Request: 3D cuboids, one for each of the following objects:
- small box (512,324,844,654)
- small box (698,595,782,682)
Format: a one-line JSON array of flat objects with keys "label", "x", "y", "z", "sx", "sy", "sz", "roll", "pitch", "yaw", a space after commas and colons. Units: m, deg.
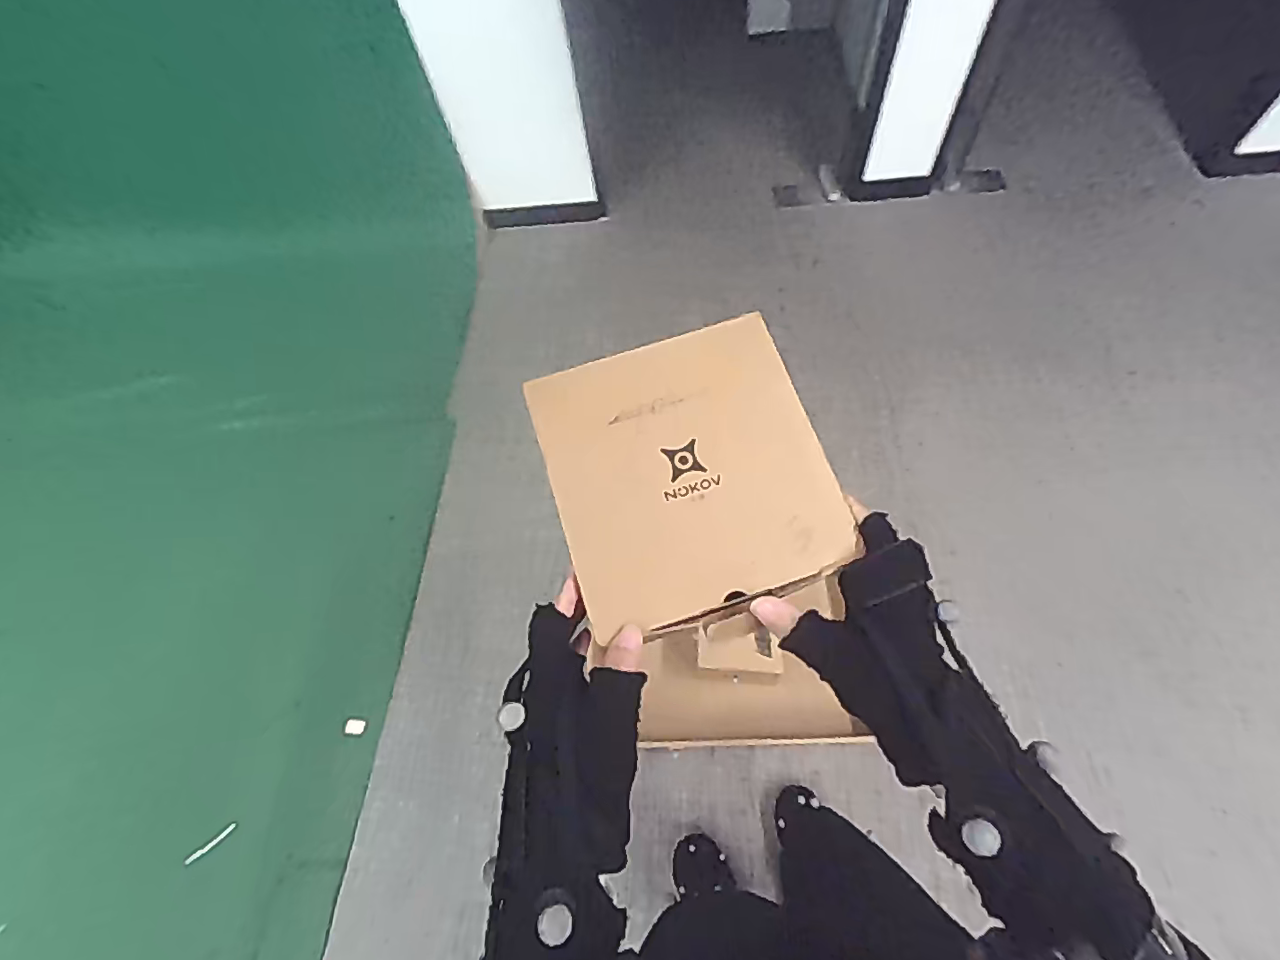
[{"label": "small box", "x": 0.021, "y": 0.019, "z": 0.411, "sx": 0.168, "sy": 0.176, "sz": 0.179, "roll": -18, "pitch": 73, "yaw": -4}, {"label": "small box", "x": 0.227, "y": 0.358, "z": 1.231, "sx": 0.179, "sy": 0.176, "sz": 0.168, "roll": 1, "pitch": 61, "yaw": 11}]
